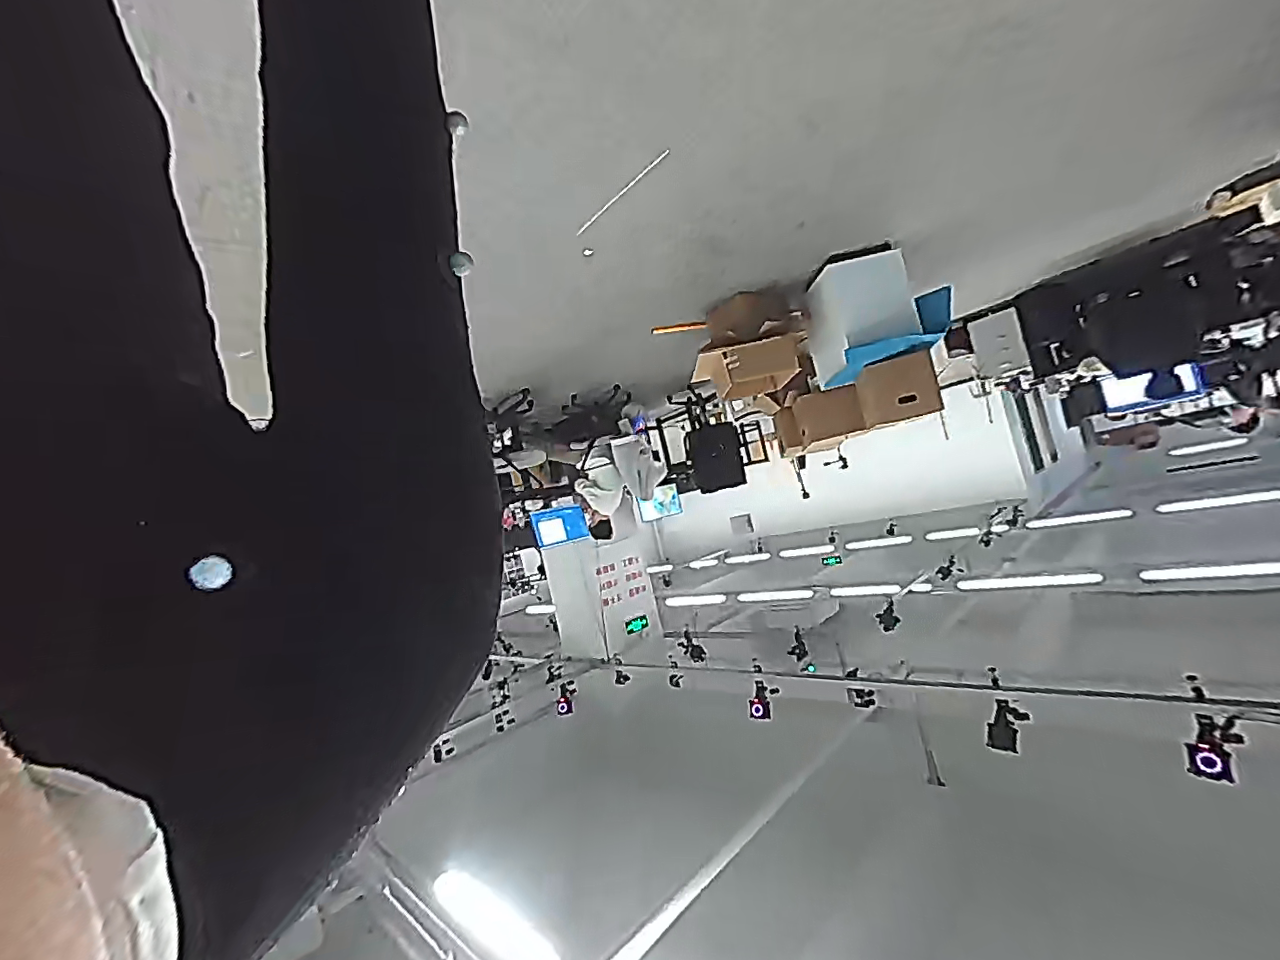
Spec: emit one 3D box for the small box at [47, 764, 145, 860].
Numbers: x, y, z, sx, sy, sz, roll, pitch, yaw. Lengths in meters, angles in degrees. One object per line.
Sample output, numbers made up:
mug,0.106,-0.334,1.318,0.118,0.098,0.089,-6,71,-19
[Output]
small box,-1.597,0.959,1.590,0.168,0.176,0.179,-16,177,44
